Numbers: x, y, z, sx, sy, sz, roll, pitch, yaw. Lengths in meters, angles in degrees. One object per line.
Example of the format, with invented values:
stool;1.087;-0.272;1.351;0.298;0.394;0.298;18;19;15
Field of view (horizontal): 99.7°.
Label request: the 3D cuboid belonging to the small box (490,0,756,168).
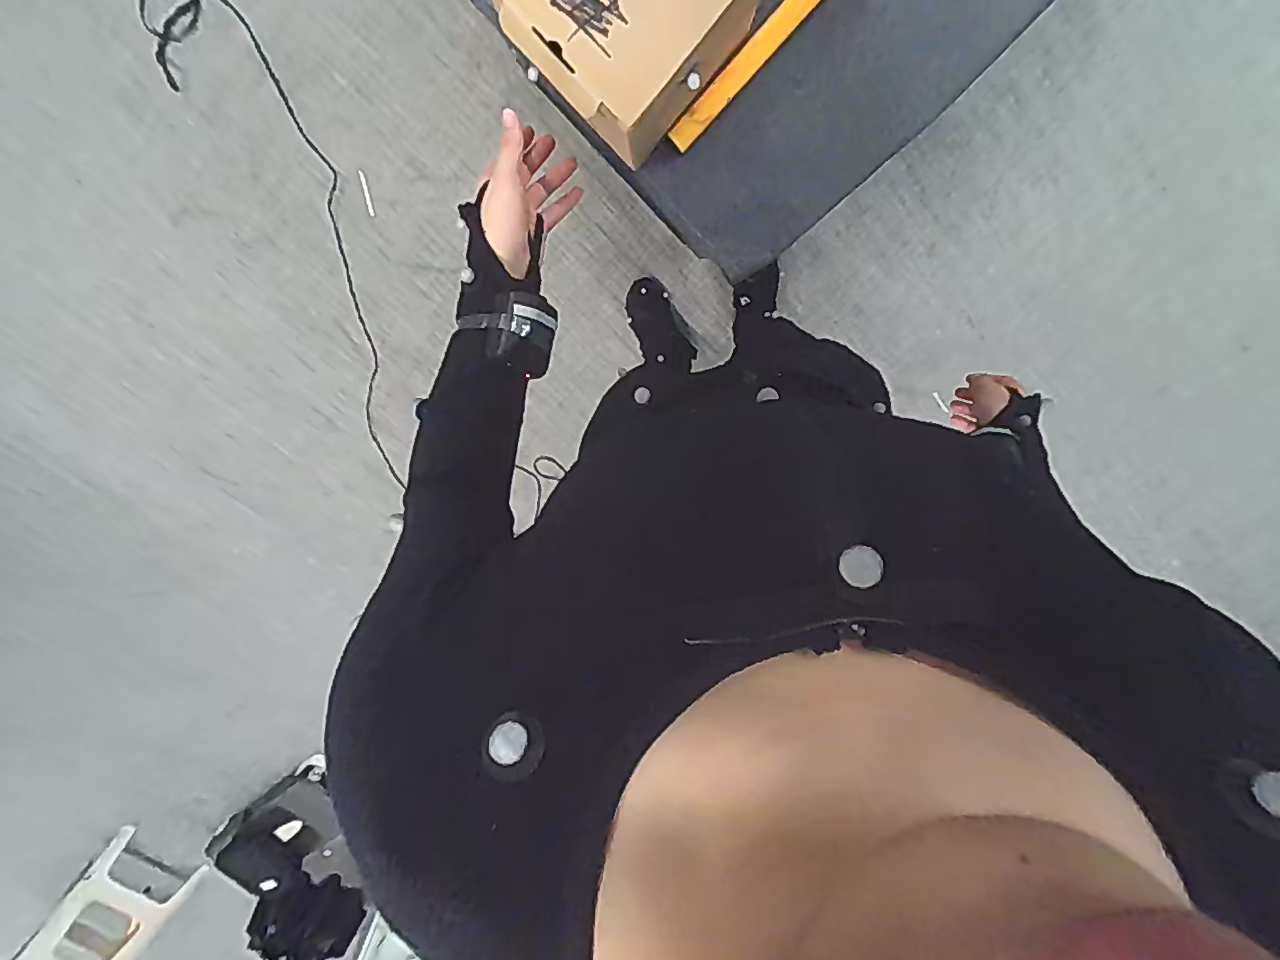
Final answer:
small box;-0.006;-0.422;0.489;0.168;0.176;0.179;41;106;-13
